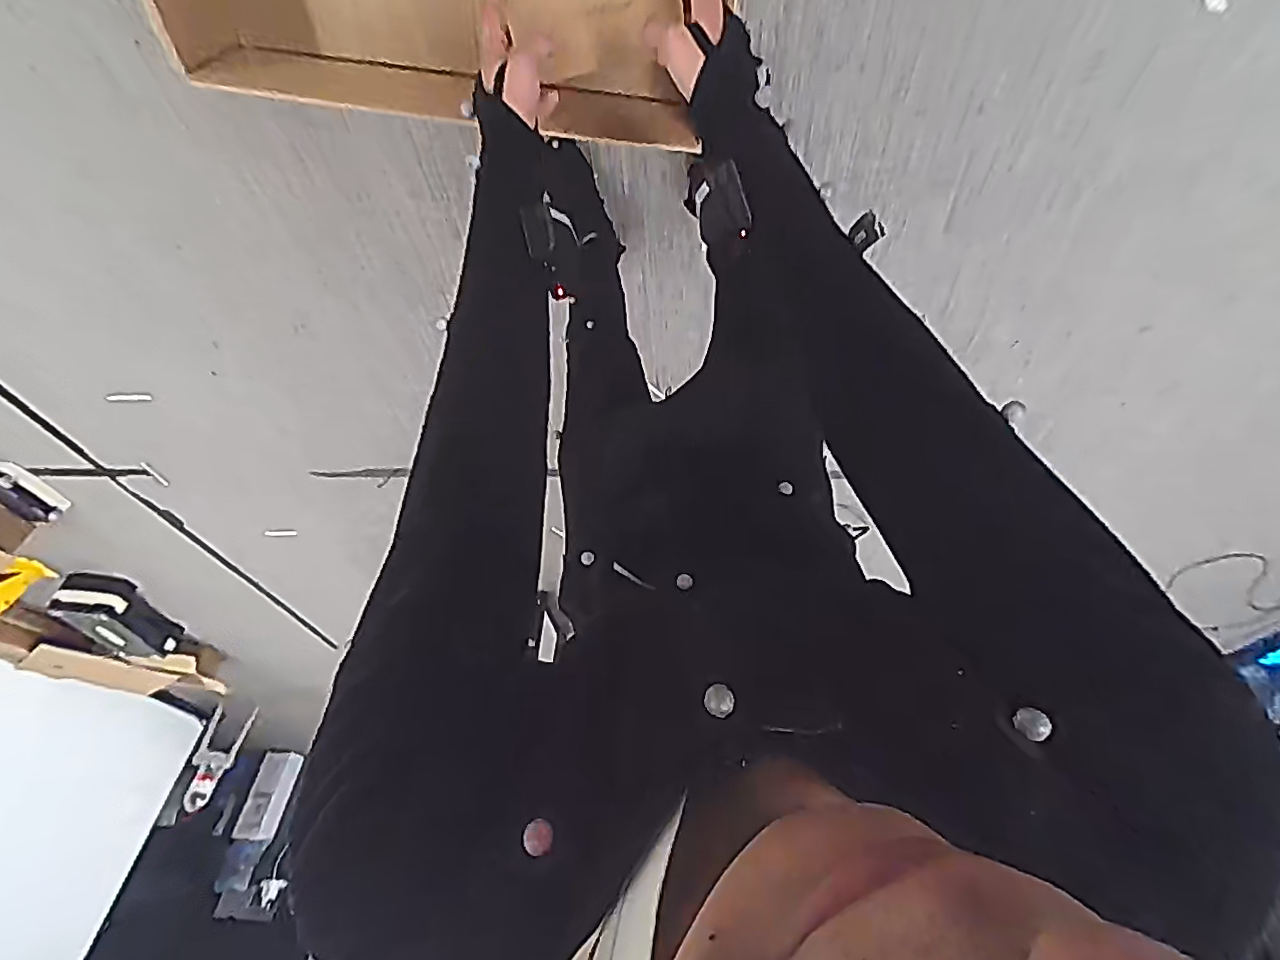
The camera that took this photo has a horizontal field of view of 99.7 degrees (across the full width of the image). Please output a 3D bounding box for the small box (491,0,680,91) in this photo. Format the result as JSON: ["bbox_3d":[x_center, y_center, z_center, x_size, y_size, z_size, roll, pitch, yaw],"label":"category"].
[{"bbox_3d":[-0.054,-0.505,0.513,0.168,0.176,0.179,-5,138,7],"label":"small box"}]

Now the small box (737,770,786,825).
[{"bbox_3d":[0.496,1.308,2.232,0.179,0.176,0.168,0,141,5],"label":"small box"}]
